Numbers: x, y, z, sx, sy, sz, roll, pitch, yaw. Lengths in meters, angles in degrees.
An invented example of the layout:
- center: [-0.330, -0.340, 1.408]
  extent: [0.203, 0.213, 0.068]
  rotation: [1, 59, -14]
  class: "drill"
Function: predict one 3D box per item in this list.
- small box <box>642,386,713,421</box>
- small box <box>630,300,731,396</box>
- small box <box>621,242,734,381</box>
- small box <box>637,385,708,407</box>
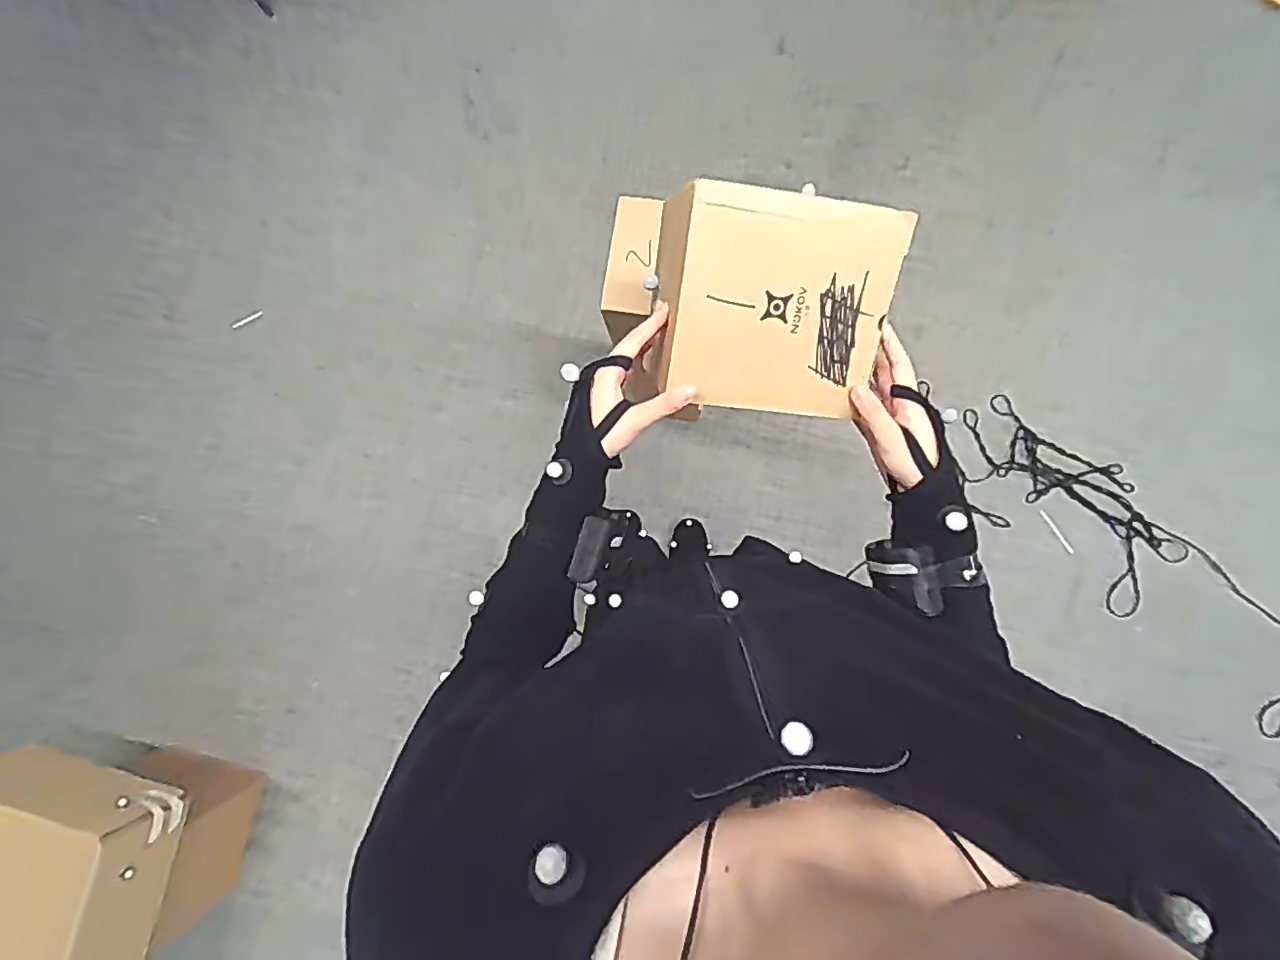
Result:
- center: [0.109, -0.265, 1.466]
  extent: [0.179, 0.176, 0.168]
  rotation: [12, 85, 4]
  class: "small box"
- center: [0.082, -0.283, 1.140]
  extent: [0.179, 0.176, 0.168]
  rotation: [10, 85, 4]
  class: "small box"
- center: [0.066, -0.296, 0.979]
  extent: [0.168, 0.176, 0.179]
  rotation: [10, 86, 5]
  class: "small box"
- center: [0.090, -0.283, 1.304]
  extent: [0.179, 0.176, 0.168]
  rotation: [12, 86, 4]
  class: "small box"
